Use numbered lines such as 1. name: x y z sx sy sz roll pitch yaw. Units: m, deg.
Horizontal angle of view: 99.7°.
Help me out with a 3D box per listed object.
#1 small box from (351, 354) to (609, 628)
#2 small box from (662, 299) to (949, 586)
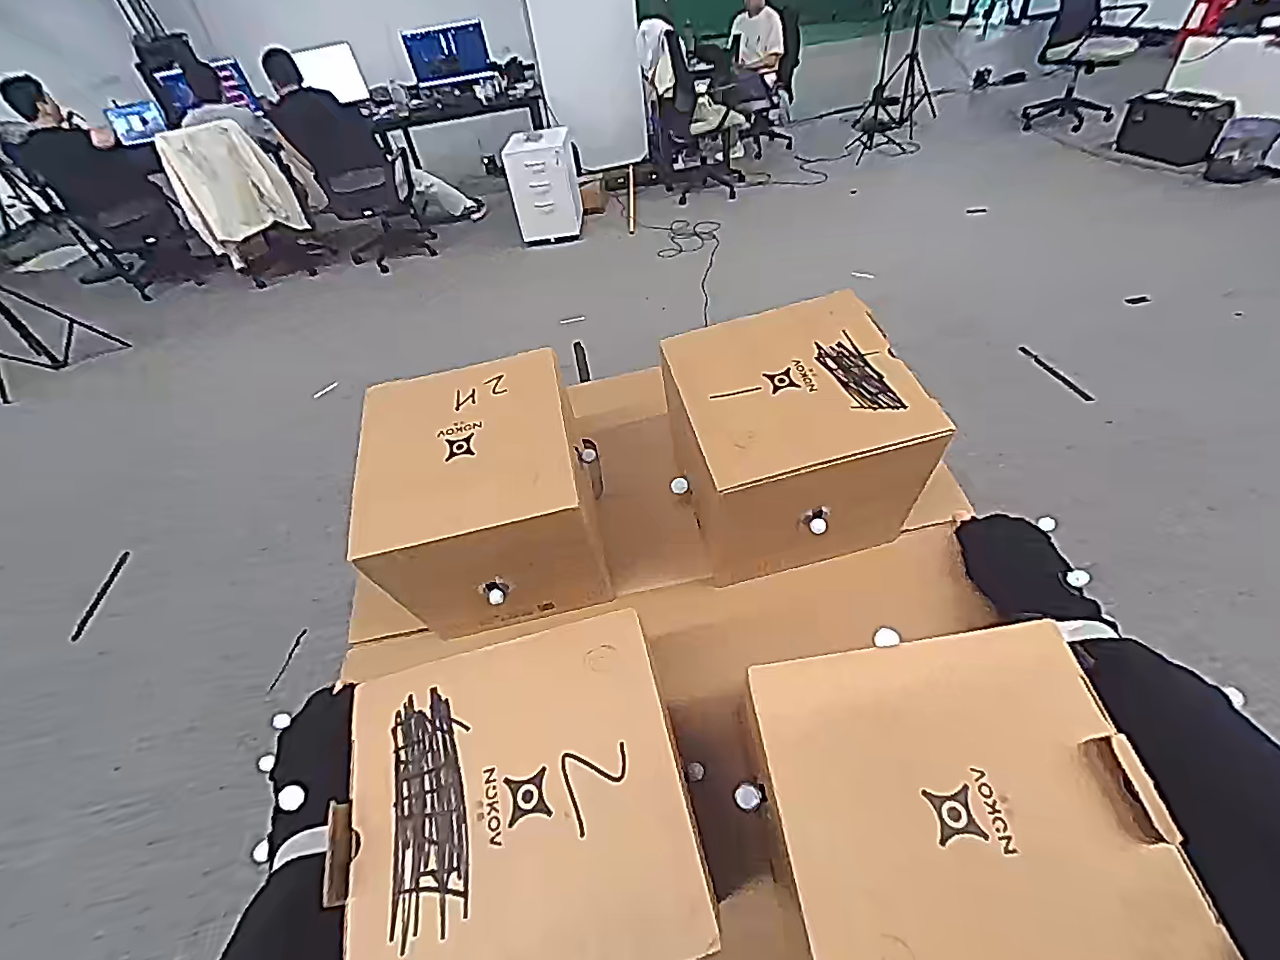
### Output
1. small box: -0.129 0.020 0.491 0.168 0.176 0.179 -12 54 -1
2. small box: 0.127 -0.026 0.485 0.179 0.176 0.168 -15 55 -1
